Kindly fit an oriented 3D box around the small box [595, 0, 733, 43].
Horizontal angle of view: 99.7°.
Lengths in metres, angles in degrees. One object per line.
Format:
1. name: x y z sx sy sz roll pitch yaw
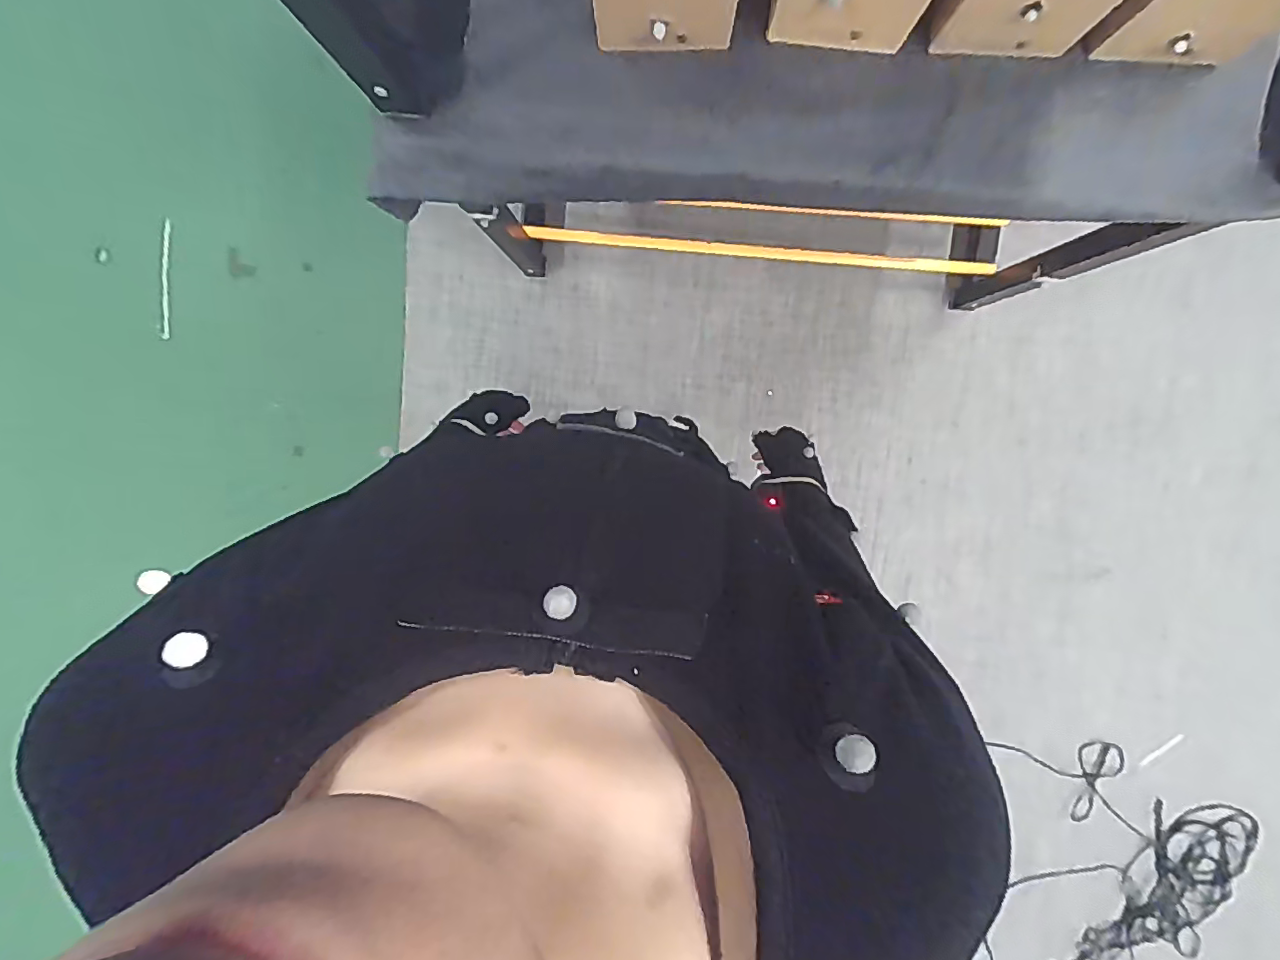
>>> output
1. small box: 0.027 -0.632 0.595 0.168 0.176 0.179 0 98 2
